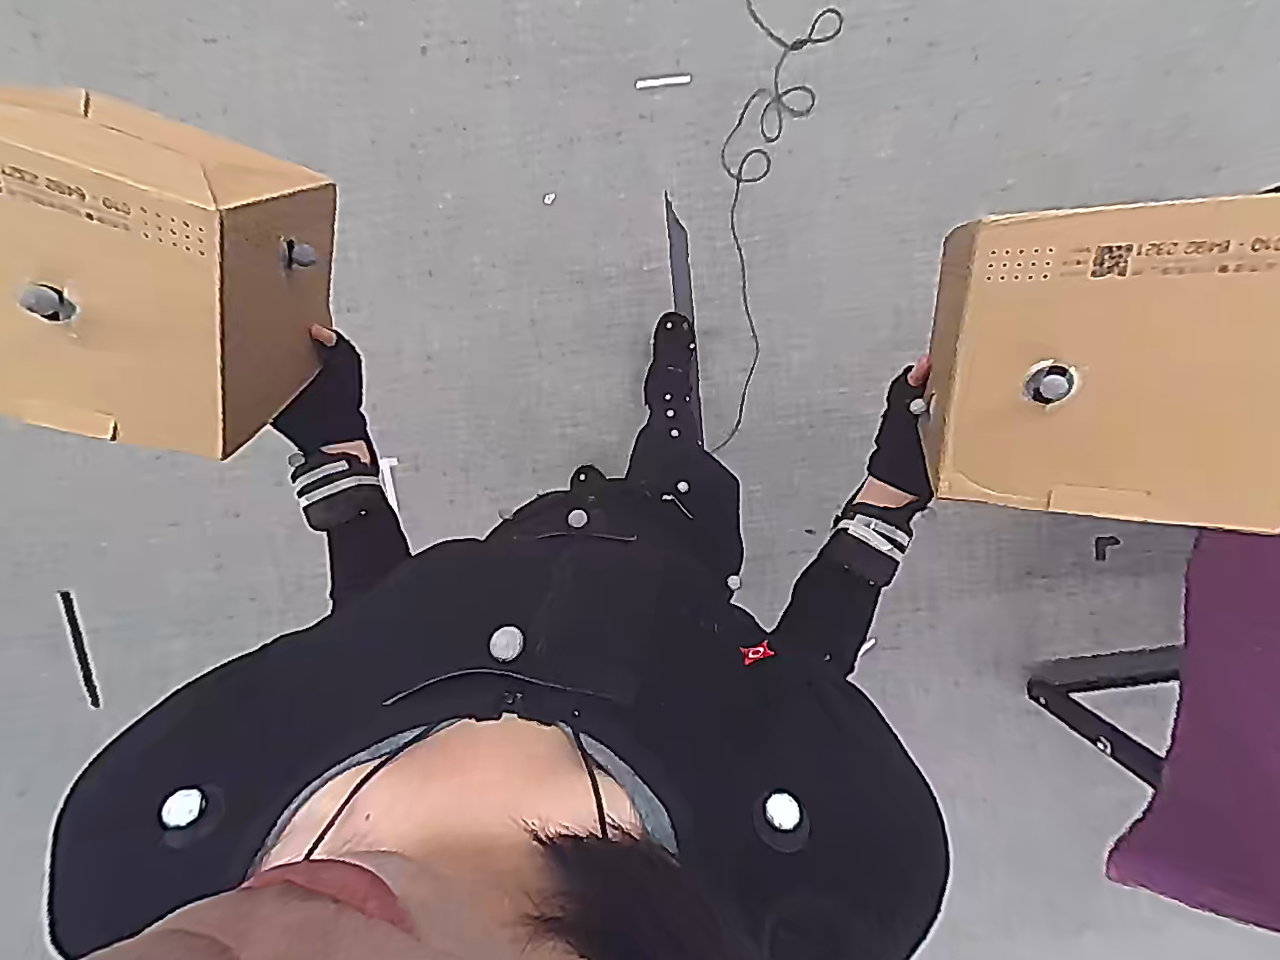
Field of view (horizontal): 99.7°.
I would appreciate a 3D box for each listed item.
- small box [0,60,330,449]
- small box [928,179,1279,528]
[{"bbox_3d":[-0.326,-0.150,0.357,0.168,0.179,0.176,16,120,-16],"label":"small box"},{"bbox_3d":[0.293,-0.089,0.343,0.168,0.179,0.176,8,114,21],"label":"small box"}]
